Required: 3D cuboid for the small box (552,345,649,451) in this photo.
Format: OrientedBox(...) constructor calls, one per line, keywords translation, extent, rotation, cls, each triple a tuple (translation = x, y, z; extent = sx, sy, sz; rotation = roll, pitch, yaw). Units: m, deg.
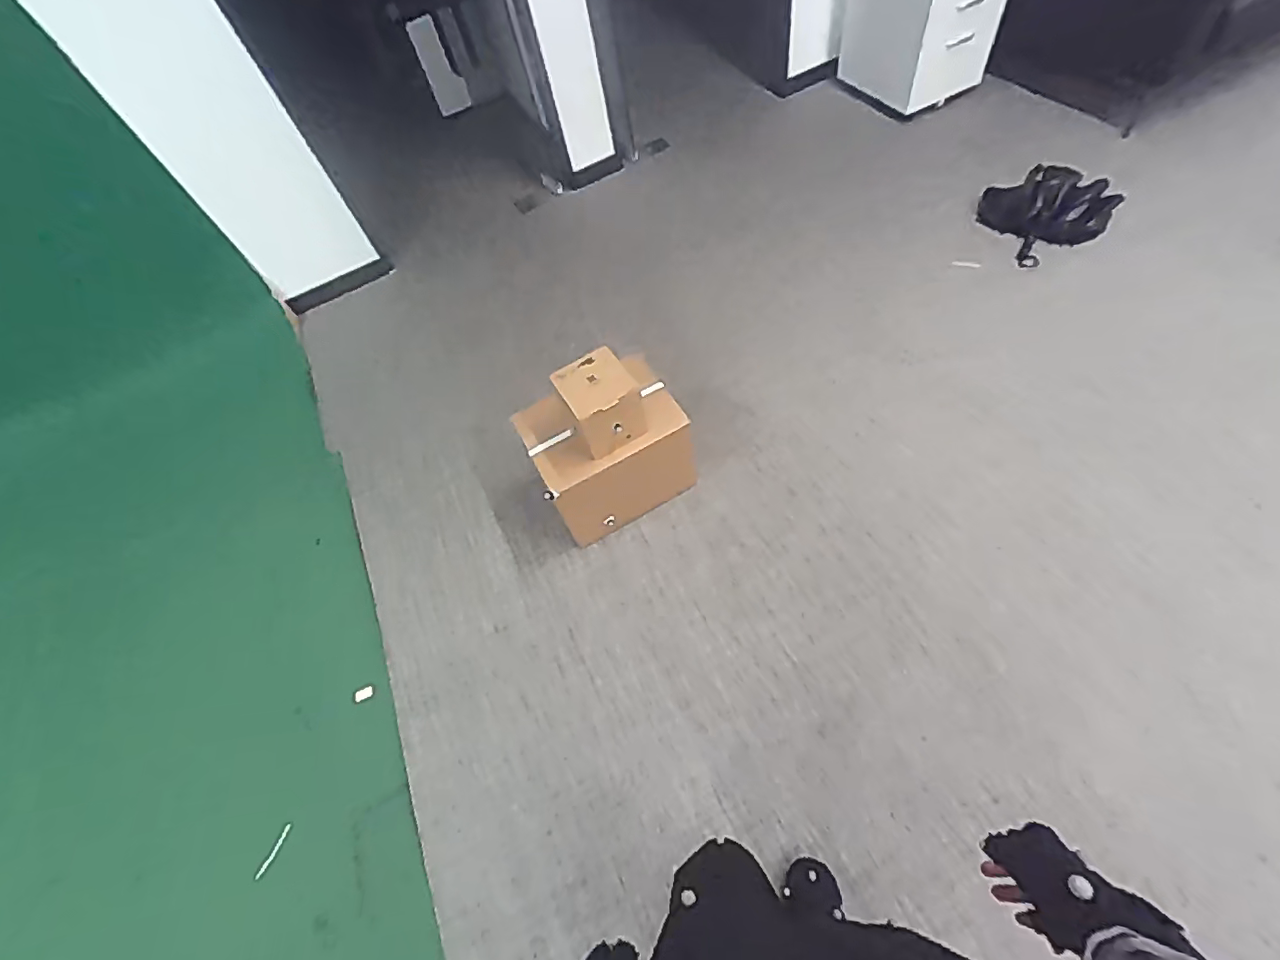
OrientedBox(translation=(-0.093, -0.195, 1.354), extent=(0.168, 0.176, 0.179), rotation=(-30, 59, -8), cls="small box")
